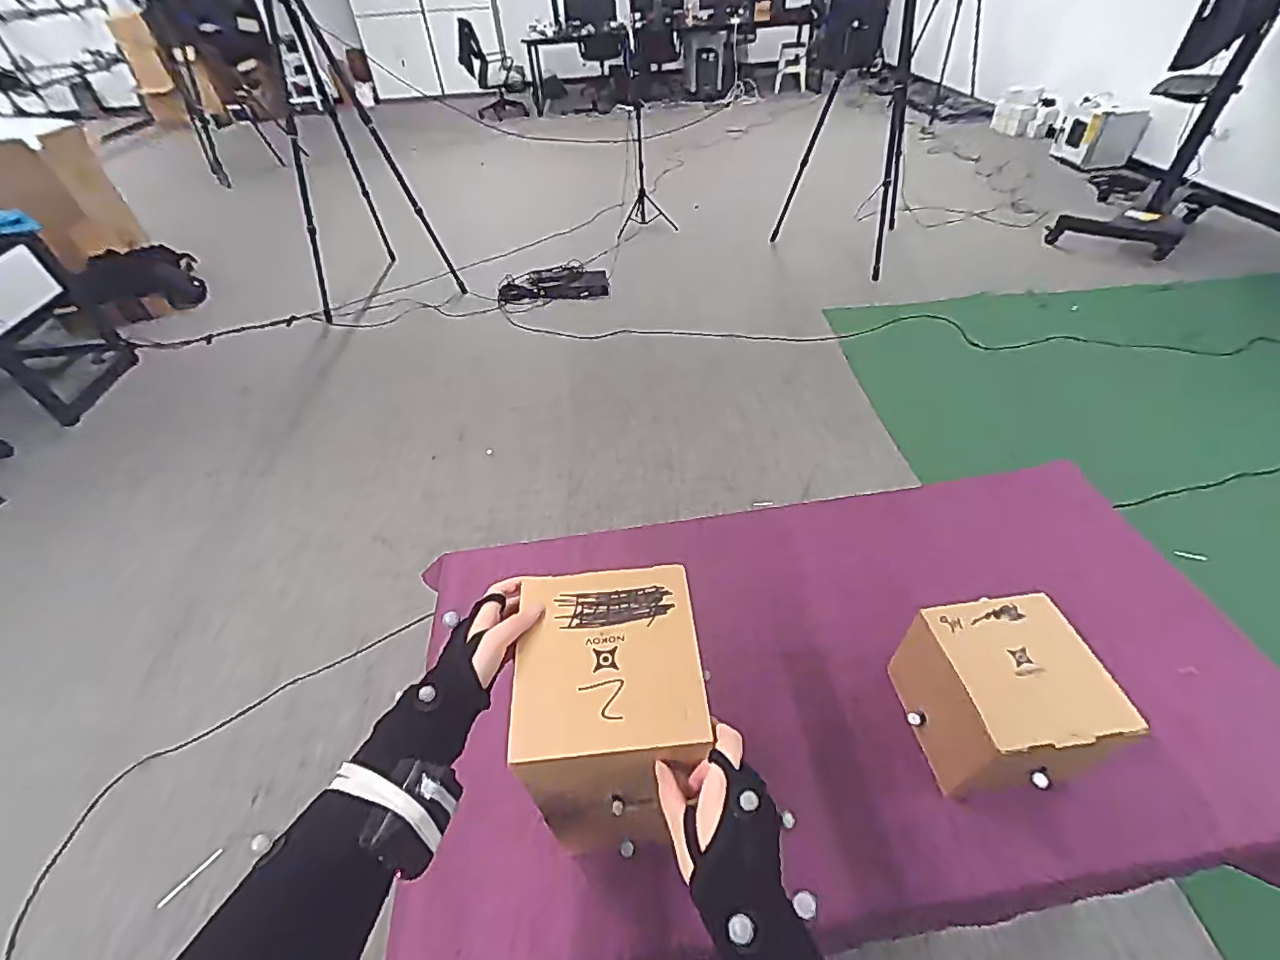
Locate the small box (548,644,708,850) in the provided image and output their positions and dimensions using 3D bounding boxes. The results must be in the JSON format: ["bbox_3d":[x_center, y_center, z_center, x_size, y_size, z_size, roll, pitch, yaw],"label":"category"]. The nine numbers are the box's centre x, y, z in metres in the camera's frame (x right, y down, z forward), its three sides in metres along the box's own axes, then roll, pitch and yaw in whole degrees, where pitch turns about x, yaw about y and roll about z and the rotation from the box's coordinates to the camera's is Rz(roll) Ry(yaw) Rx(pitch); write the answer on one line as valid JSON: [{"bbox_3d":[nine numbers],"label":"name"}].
[{"bbox_3d":[-0.015,0.325,0.660,0.168,0.176,0.179,-6,46,-1],"label":"small box"}]

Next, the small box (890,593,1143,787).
[{"bbox_3d":[0.447,0.268,0.681,0.168,0.176,0.179,-6,46,-2],"label":"small box"}]
